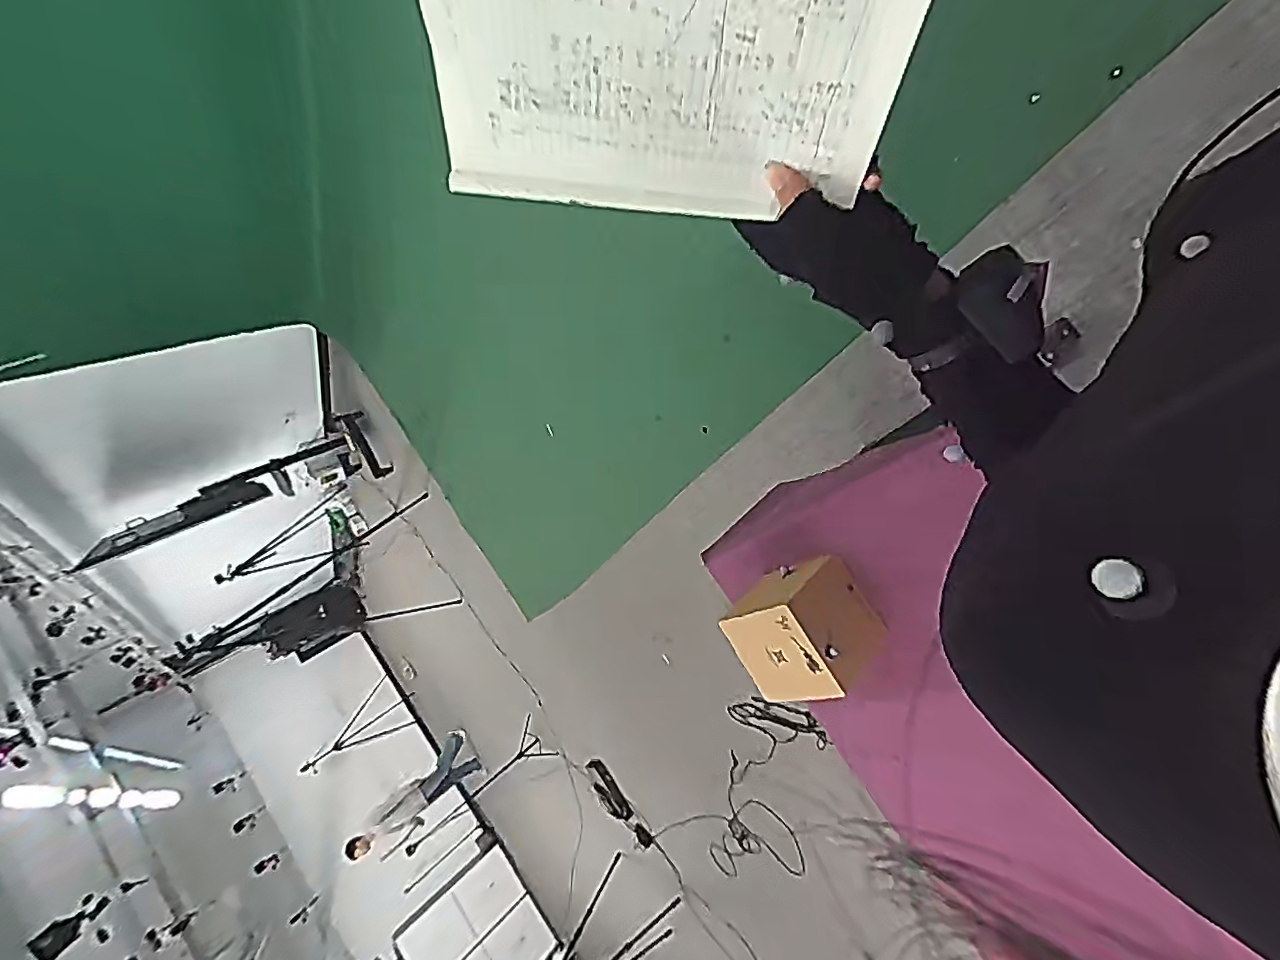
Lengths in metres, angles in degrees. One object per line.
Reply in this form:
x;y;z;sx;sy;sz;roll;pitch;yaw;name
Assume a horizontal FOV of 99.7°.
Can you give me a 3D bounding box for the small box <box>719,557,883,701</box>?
0.277;0.256;0.930;0.168;0.176;0.179;57;143;2;small box
